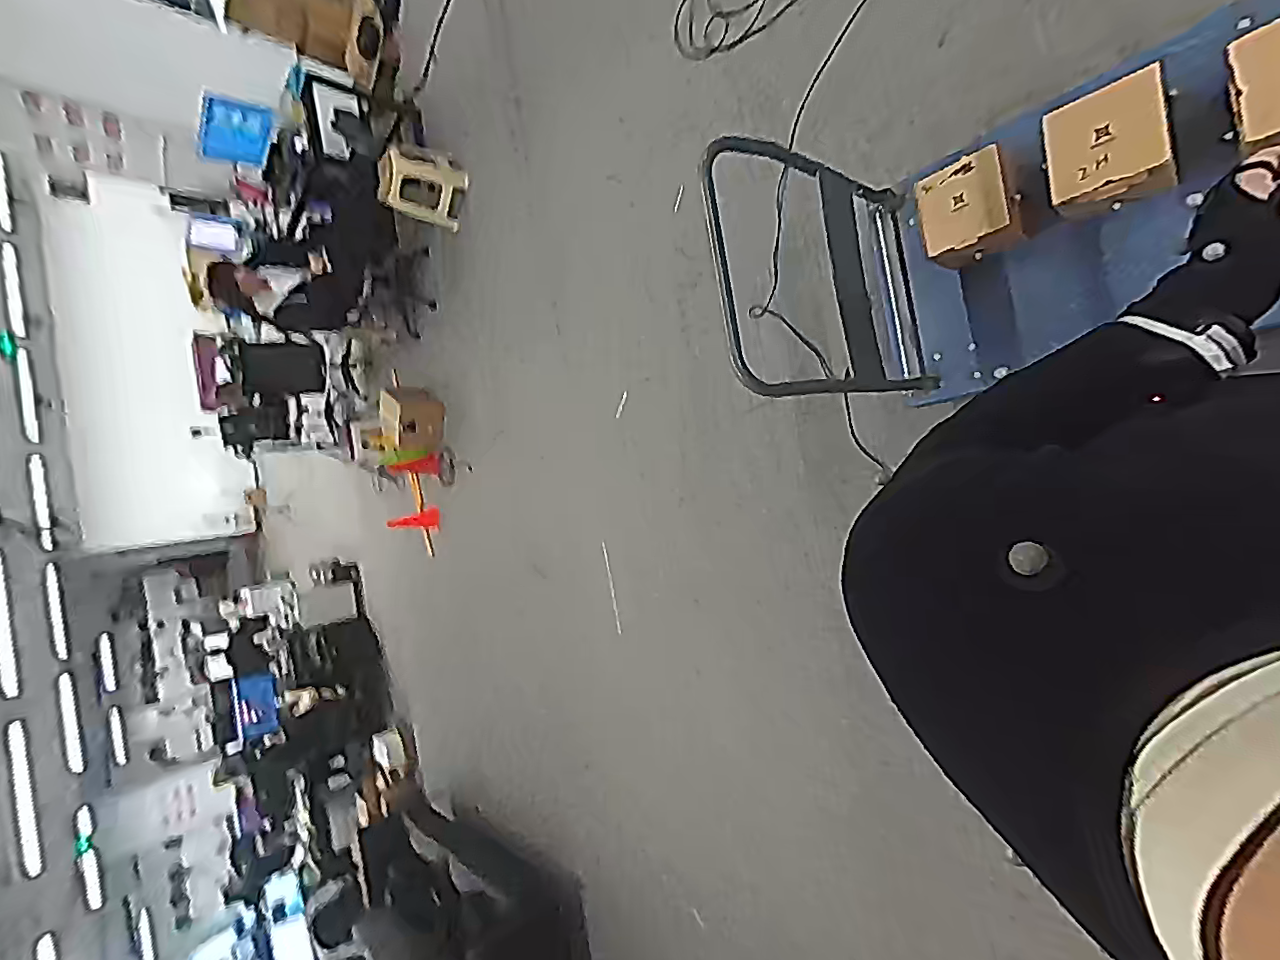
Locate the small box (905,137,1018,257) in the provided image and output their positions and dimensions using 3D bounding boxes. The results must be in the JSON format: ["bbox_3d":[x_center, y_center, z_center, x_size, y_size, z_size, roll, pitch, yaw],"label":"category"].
[{"bbox_3d":[0.718,-0.614,1.204,0.168,0.176,0.179,-9,90,47],"label":"small box"}]

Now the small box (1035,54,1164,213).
[{"bbox_3d":[0.877,-0.644,1.032,0.168,0.176,0.179,-6,92,47],"label":"small box"}]

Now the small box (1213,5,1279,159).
[{"bbox_3d":[1.046,-0.646,0.854,0.179,0.176,0.168,-9,91,47],"label":"small box"}]
